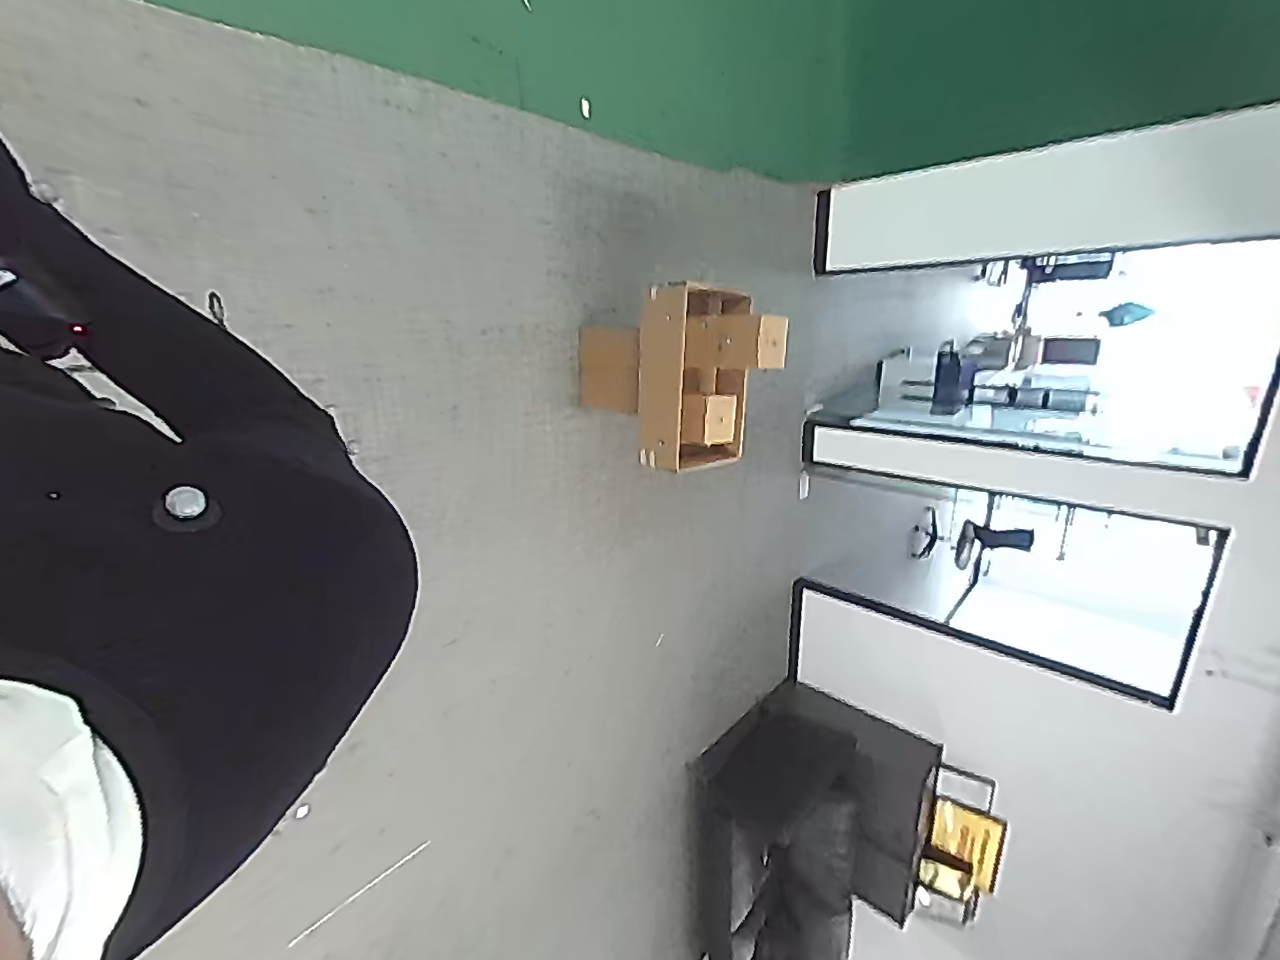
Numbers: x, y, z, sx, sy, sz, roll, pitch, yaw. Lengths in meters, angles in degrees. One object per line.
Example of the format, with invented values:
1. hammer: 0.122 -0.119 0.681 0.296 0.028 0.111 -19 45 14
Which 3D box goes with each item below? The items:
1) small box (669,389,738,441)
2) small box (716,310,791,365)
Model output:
1. small box: 0.227 -0.237 1.935 0.179 0.176 0.168 -10 108 -45
2. small box: 0.372 -0.466 1.777 0.179 0.176 0.168 -12 110 -45
